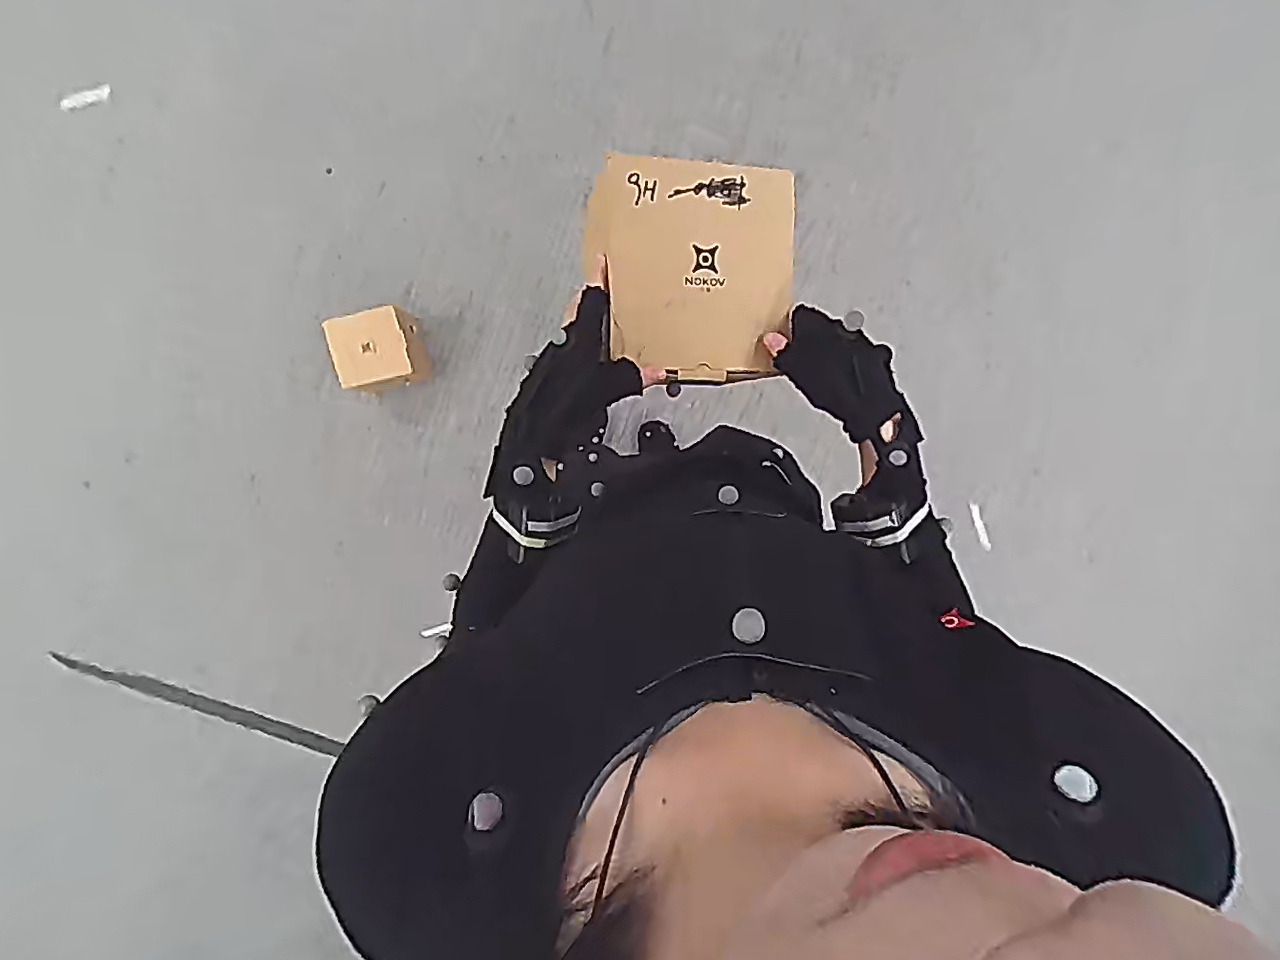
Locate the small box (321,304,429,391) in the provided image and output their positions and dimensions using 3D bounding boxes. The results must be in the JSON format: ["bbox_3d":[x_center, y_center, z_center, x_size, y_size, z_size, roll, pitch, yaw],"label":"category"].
[{"bbox_3d":[-0.647,-0.325,1.350,0.179,0.176,0.168,-14,96,-1],"label":"small box"}]

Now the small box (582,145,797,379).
[{"bbox_3d":[0.035,-0.189,0.527,0.168,0.176,0.179,-3,98,-12],"label":"small box"}]
